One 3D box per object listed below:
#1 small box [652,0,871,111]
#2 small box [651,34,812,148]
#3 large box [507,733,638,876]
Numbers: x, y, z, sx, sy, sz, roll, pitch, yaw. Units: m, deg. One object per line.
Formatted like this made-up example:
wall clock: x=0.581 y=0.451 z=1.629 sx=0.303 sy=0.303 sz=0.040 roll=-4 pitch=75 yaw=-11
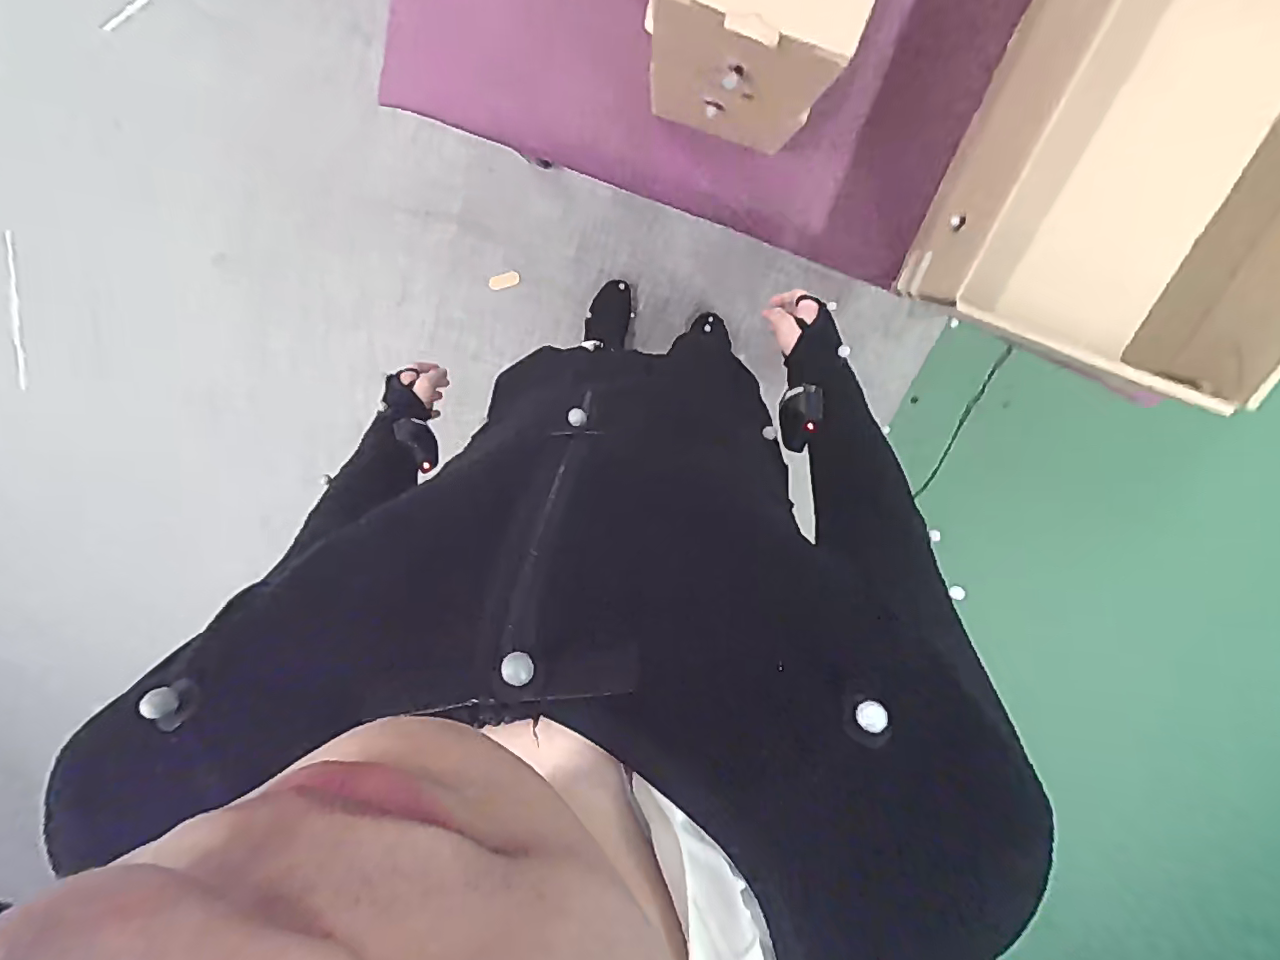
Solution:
small box: x=0.116 y=-0.456 z=0.467 sx=0.168 sy=0.176 sz=0.179 roll=17 pitch=111 yaw=-5
small box: x=0.119 y=-0.509 z=0.621 sx=0.179 sy=0.176 sz=0.168 roll=16 pitch=110 yaw=-5
large box: x=-0.233 y=1.203 z=2.023 sx=0.408 sy=0.320 sz=0.320 roll=-10 pitch=112 yaw=5
